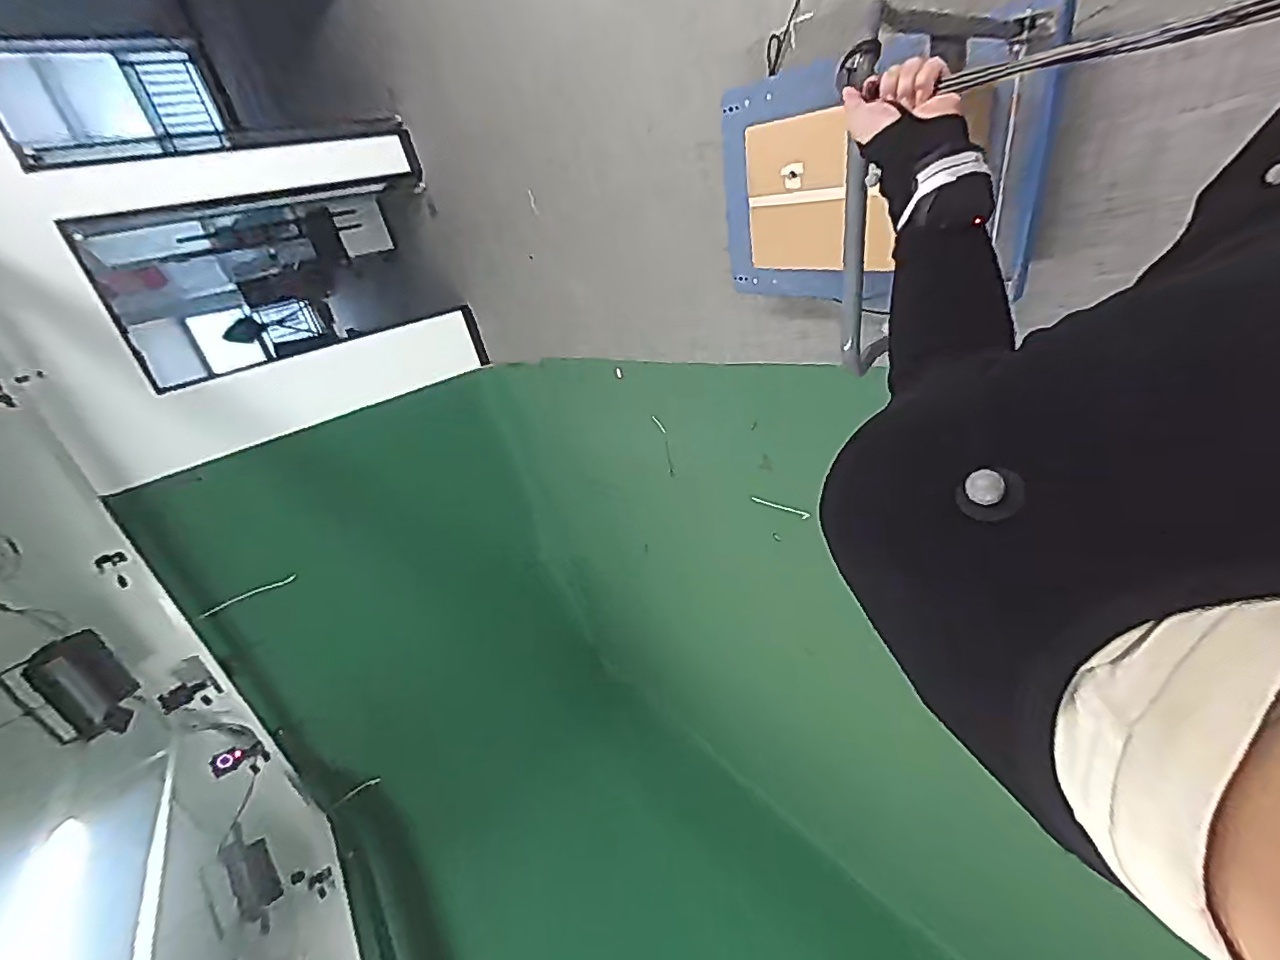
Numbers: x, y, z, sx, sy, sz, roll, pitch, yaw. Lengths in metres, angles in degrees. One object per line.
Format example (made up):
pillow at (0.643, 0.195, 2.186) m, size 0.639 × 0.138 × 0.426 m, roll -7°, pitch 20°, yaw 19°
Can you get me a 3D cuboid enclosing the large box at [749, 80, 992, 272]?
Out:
large box at (0.512, -0.677, 1.242) m, size 0.408 × 0.320 × 0.320 m, roll 26°, pitch 135°, yaw 47°
